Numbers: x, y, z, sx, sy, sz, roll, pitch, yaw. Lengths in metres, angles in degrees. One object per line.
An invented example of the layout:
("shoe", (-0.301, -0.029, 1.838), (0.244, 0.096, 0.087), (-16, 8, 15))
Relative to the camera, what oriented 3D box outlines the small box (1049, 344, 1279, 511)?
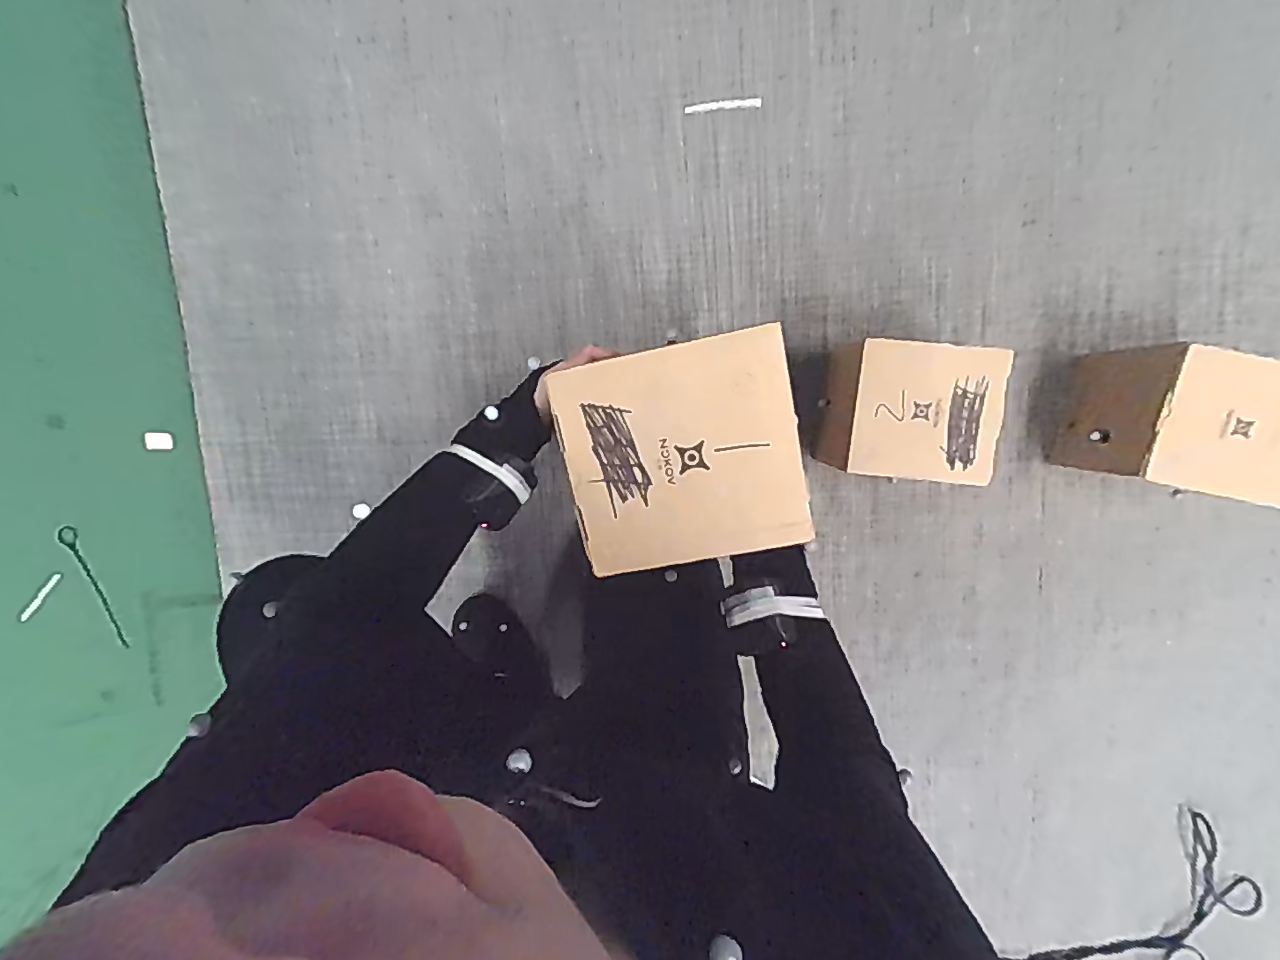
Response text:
("small box", (0.696, -0.071, 0.712), (0.179, 0.176, 0.168), (13, 99, 1))
